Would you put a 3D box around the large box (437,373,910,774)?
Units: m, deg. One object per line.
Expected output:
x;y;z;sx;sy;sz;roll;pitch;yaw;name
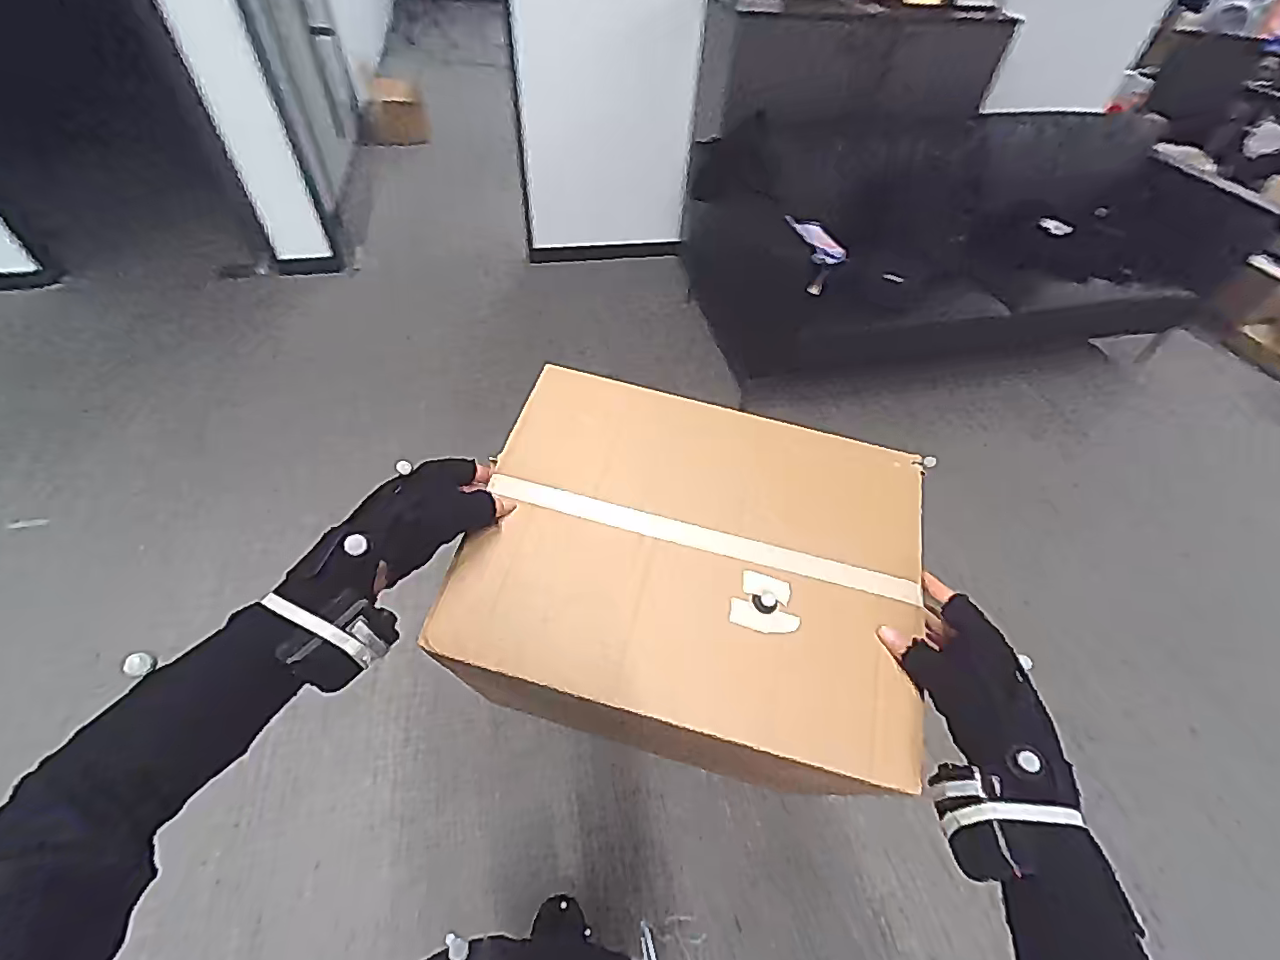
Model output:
0.042;0.127;0.639;0.408;0.320;0.320;14;61;3;large box
